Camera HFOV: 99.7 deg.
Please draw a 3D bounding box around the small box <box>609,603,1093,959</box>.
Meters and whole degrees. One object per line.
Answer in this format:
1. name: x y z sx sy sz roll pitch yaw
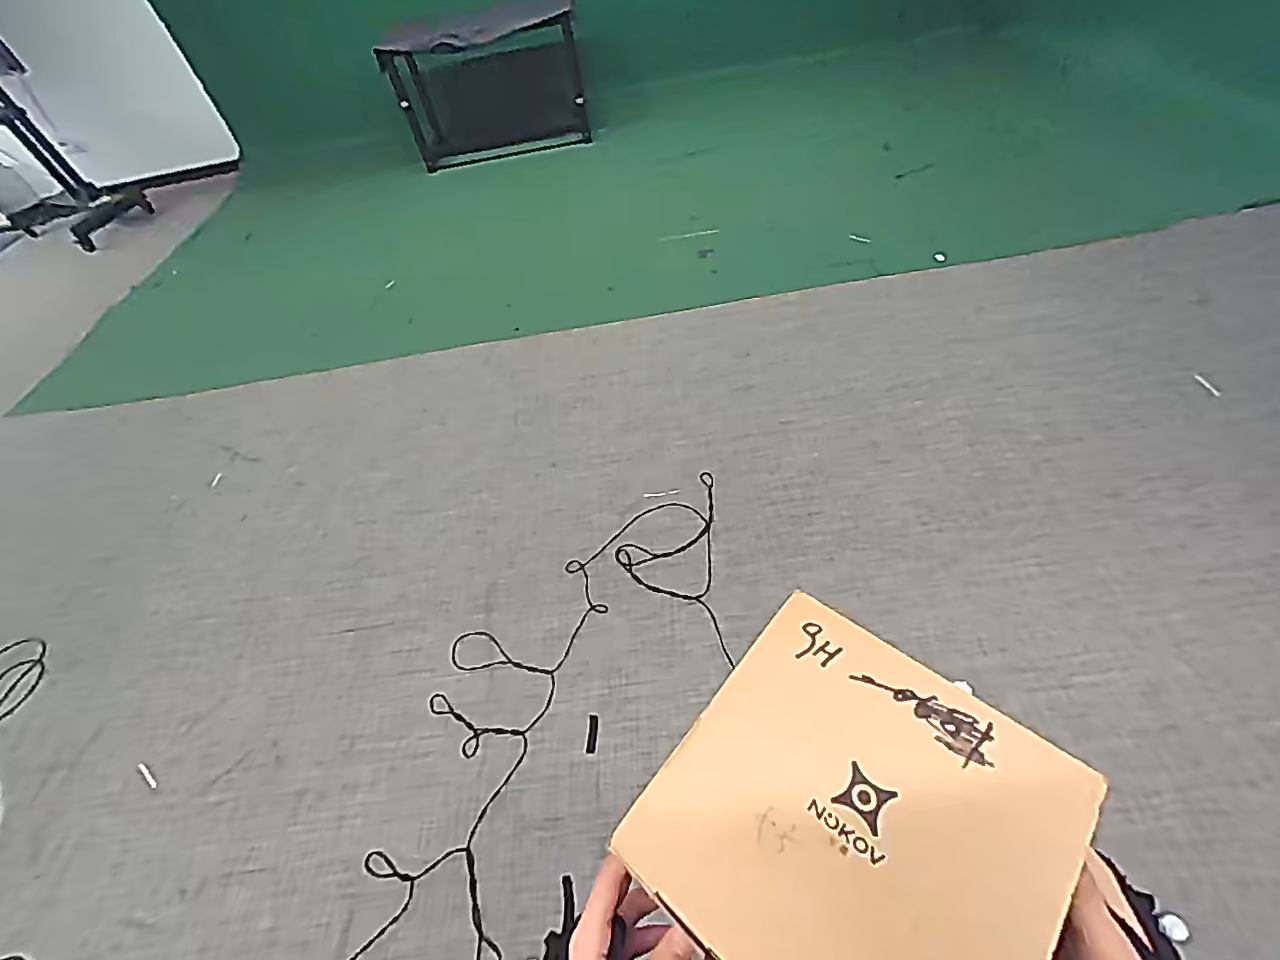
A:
1. small box: 0.110 0.216 0.322 0.168 0.176 0.179 31 62 30
